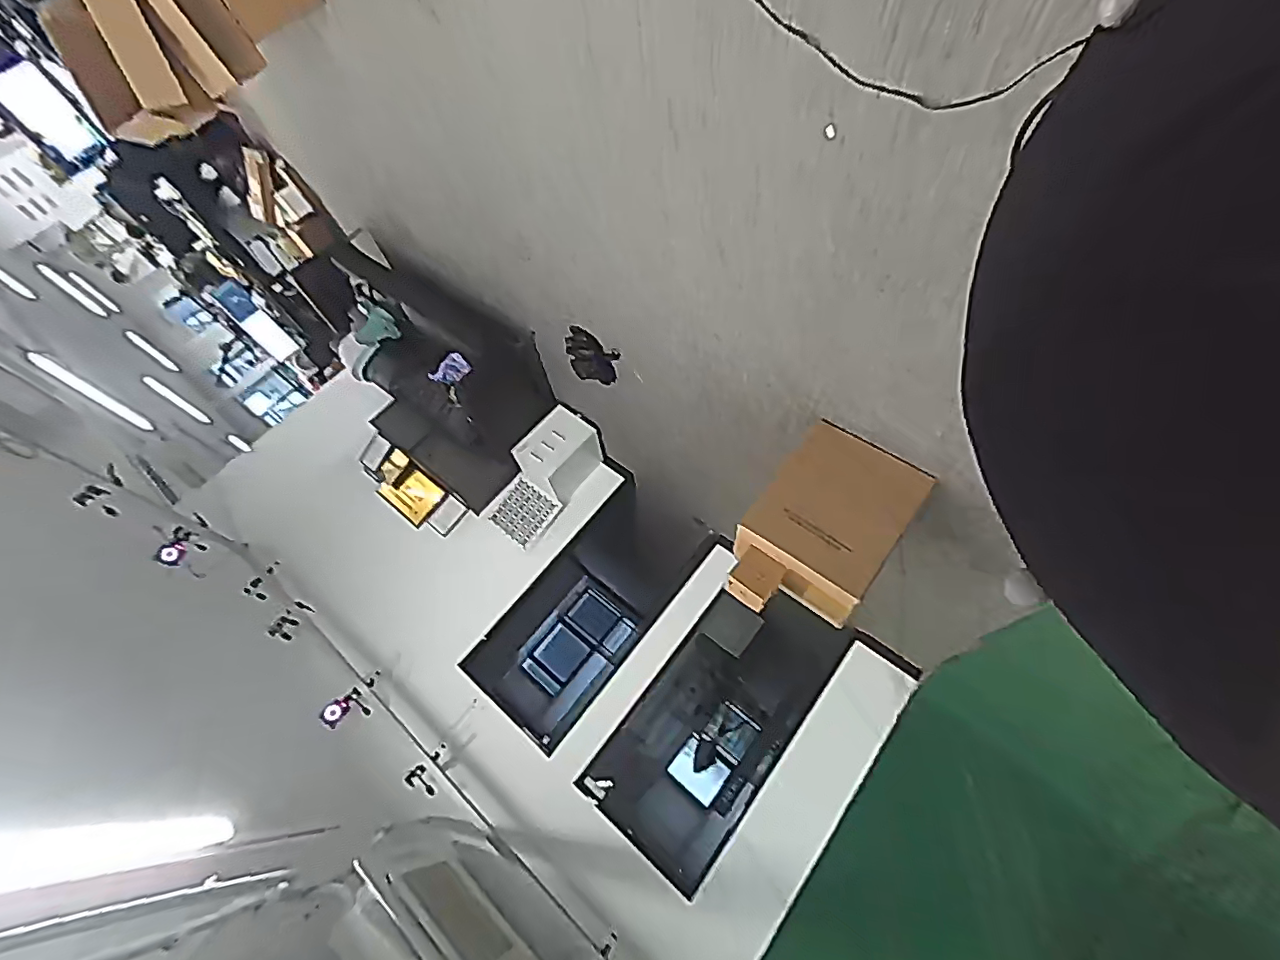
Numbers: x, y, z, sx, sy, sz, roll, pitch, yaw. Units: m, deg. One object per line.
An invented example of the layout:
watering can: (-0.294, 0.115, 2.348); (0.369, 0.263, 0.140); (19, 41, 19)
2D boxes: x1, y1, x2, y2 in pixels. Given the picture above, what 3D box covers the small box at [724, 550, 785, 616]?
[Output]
small box: (0.467, 0.418, 2.208); (0.179, 0.176, 0.168); (34, 155, 21)
